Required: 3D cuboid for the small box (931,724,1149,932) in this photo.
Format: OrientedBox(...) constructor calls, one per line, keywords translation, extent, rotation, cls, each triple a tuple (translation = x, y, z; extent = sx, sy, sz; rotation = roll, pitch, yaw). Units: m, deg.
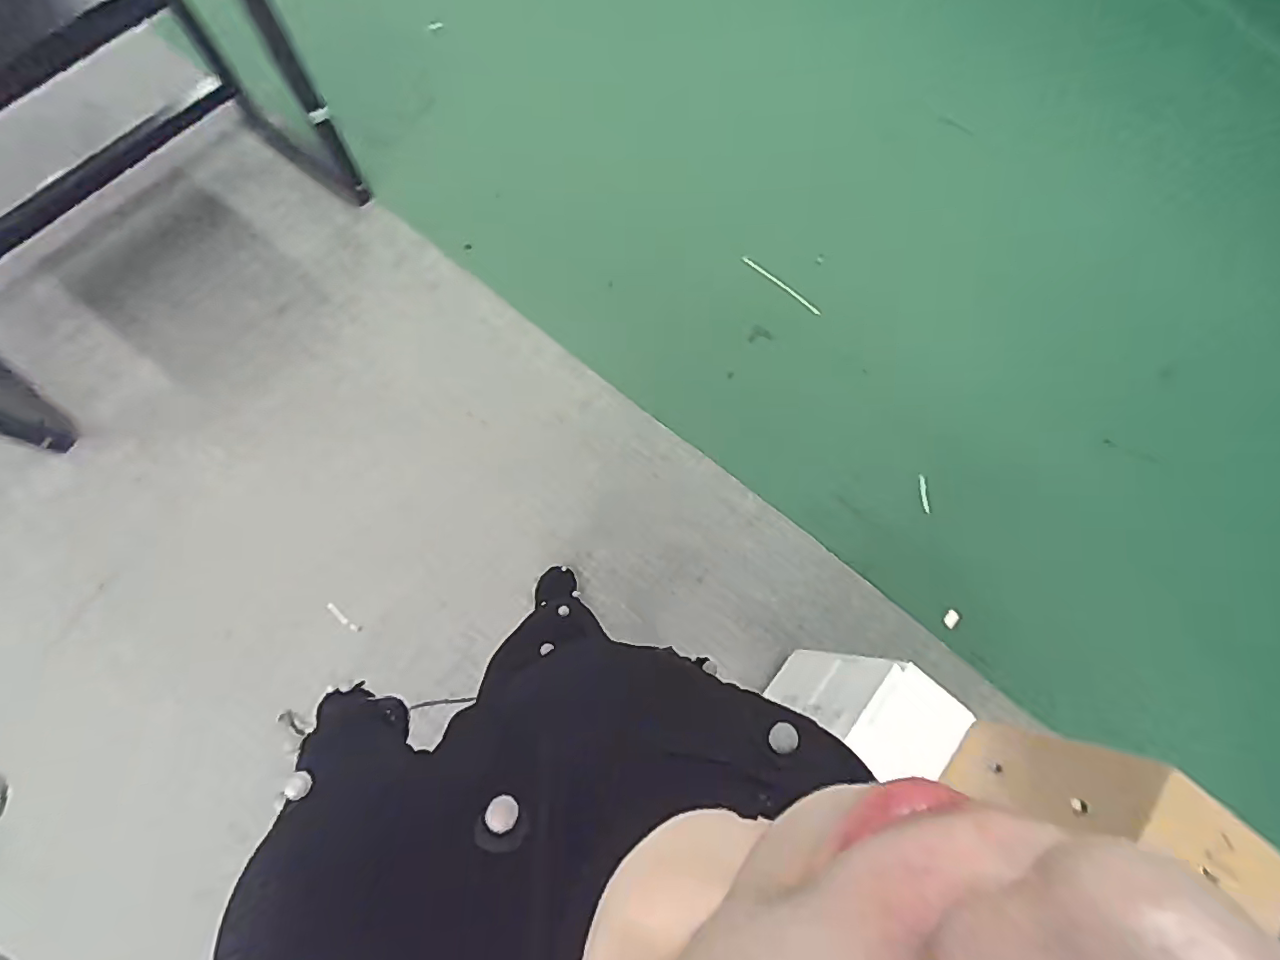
OrientedBox(translation=(0.582, 0.498, 0.811), extent=(0.168, 0.176, 0.179), rotation=(40, 76, 7), cls="small box")
